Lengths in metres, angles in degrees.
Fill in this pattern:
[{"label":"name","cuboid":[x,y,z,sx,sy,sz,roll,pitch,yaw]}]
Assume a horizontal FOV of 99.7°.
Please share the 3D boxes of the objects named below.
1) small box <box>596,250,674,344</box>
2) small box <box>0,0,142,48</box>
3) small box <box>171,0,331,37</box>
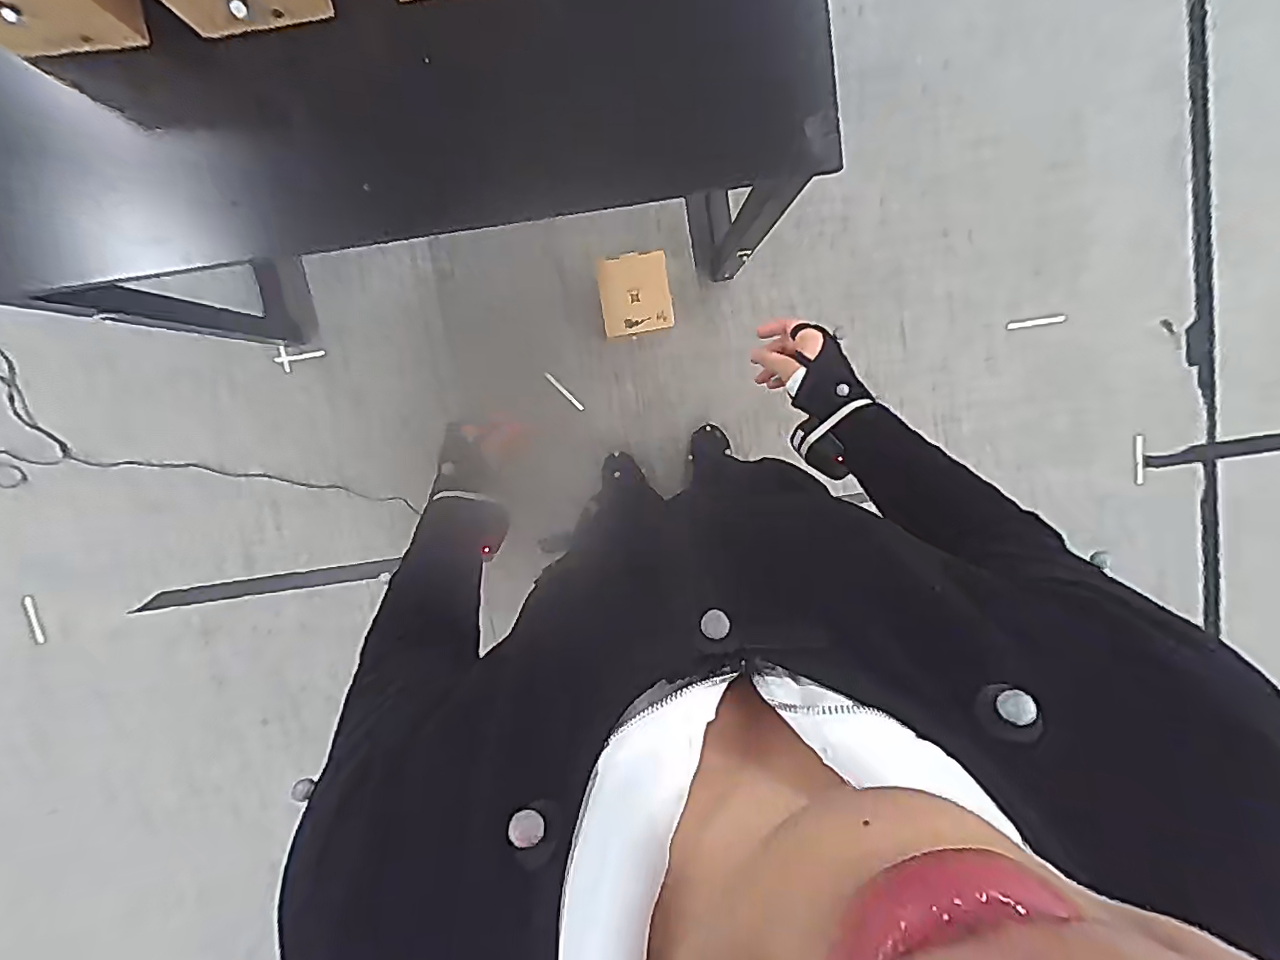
[{"label":"small box","cuboid":[-0.013,-0.445,1.339,0.168,0.176,0.179,-10,98,1]},{"label":"small box","cuboid":[-0.689,-0.600,0.574,0.168,0.176,0.179,-6,98,-1]},{"label":"small box","cuboid":[-0.467,-0.627,0.572,0.168,0.176,0.179,-10,100,0]}]
